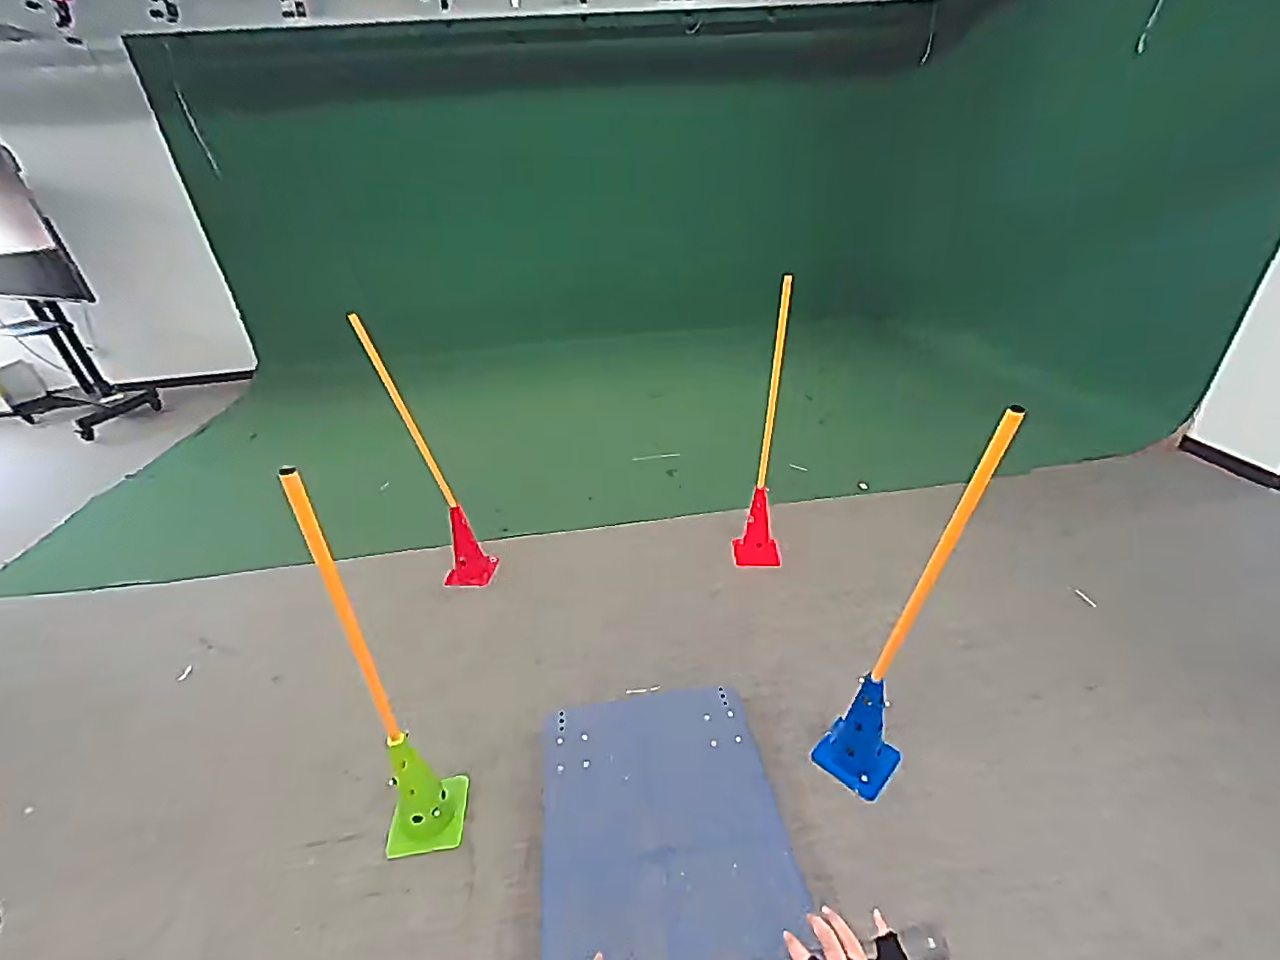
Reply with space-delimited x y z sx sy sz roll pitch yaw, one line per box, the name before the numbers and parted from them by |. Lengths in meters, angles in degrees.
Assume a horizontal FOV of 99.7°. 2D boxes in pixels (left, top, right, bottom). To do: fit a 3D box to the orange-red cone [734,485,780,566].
orange-red cone | 0.516 0.183 2.364 0.198 0.360 0.199 -2 31 5
